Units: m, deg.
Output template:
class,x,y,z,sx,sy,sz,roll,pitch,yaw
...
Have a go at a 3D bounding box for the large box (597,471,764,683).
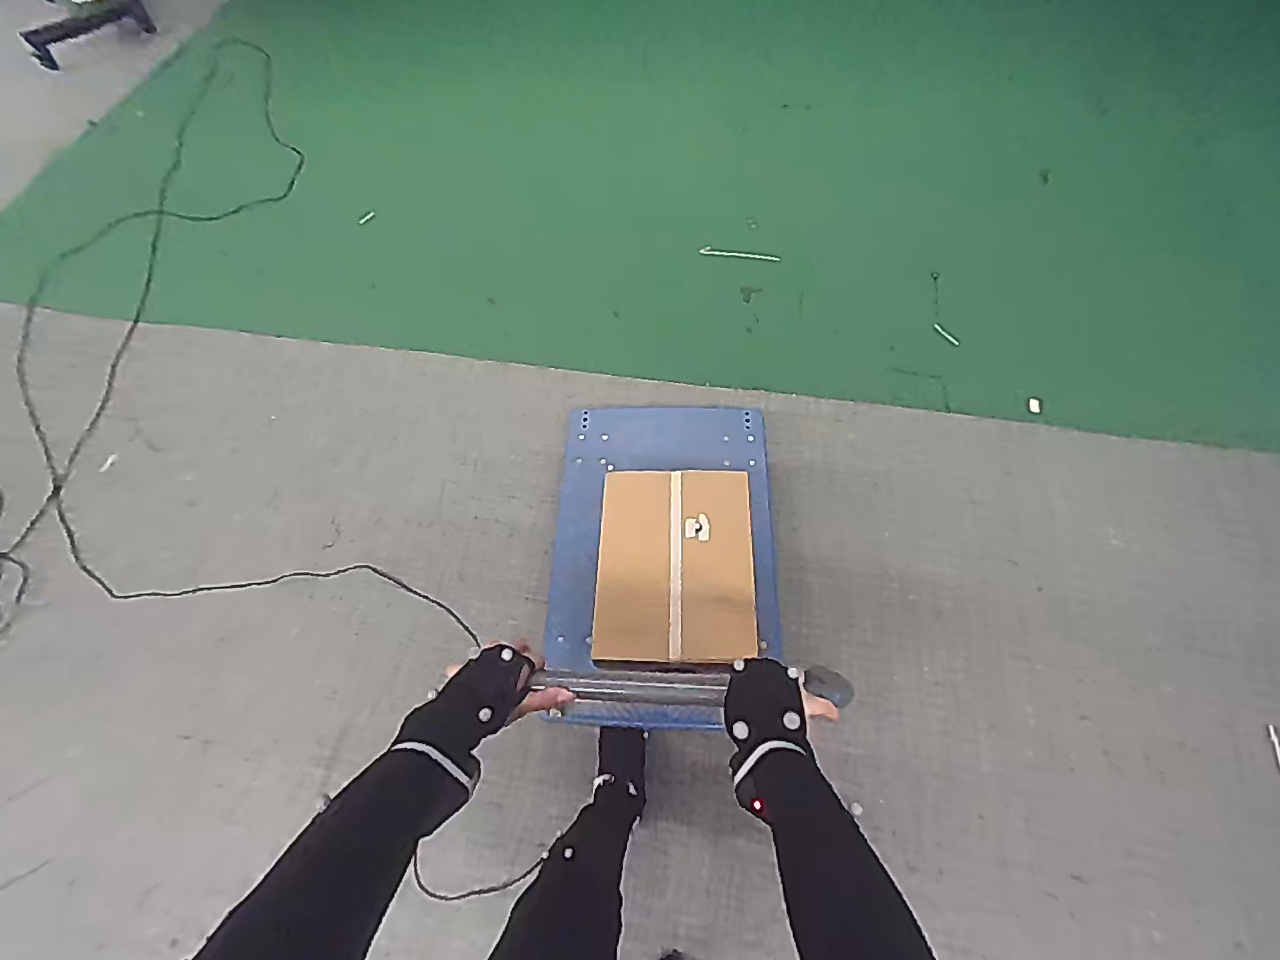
class,x,y,z,sx,sy,sz,roll,pitch,yaw
large box,0.088,0.228,1.216,0.320,0.320,0.408,1,62,3
